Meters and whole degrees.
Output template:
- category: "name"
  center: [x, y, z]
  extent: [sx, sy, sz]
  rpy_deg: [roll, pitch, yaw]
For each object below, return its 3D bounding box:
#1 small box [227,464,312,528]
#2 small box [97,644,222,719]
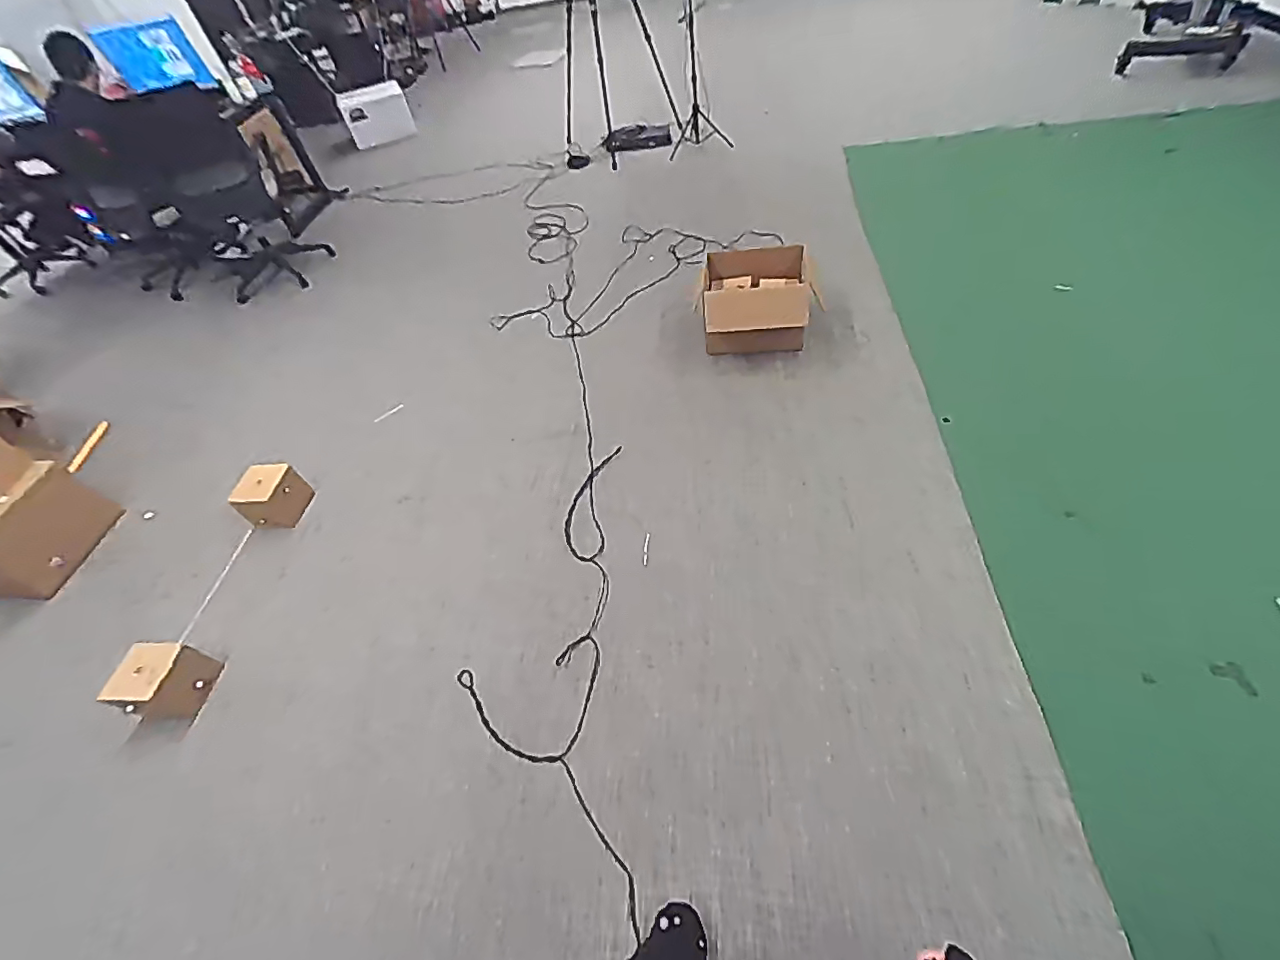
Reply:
- category: "small box"
  center: [-1.370, 0.061, 2.017]
  extent: [0.168, 0.176, 0.179]
  rpy_deg: [-2, 51, 8]
- category: "small box"
  center: [-1.397, 0.593, 1.585]
  extent: [0.179, 0.176, 0.168]
  rpy_deg: [-2, 51, 8]
